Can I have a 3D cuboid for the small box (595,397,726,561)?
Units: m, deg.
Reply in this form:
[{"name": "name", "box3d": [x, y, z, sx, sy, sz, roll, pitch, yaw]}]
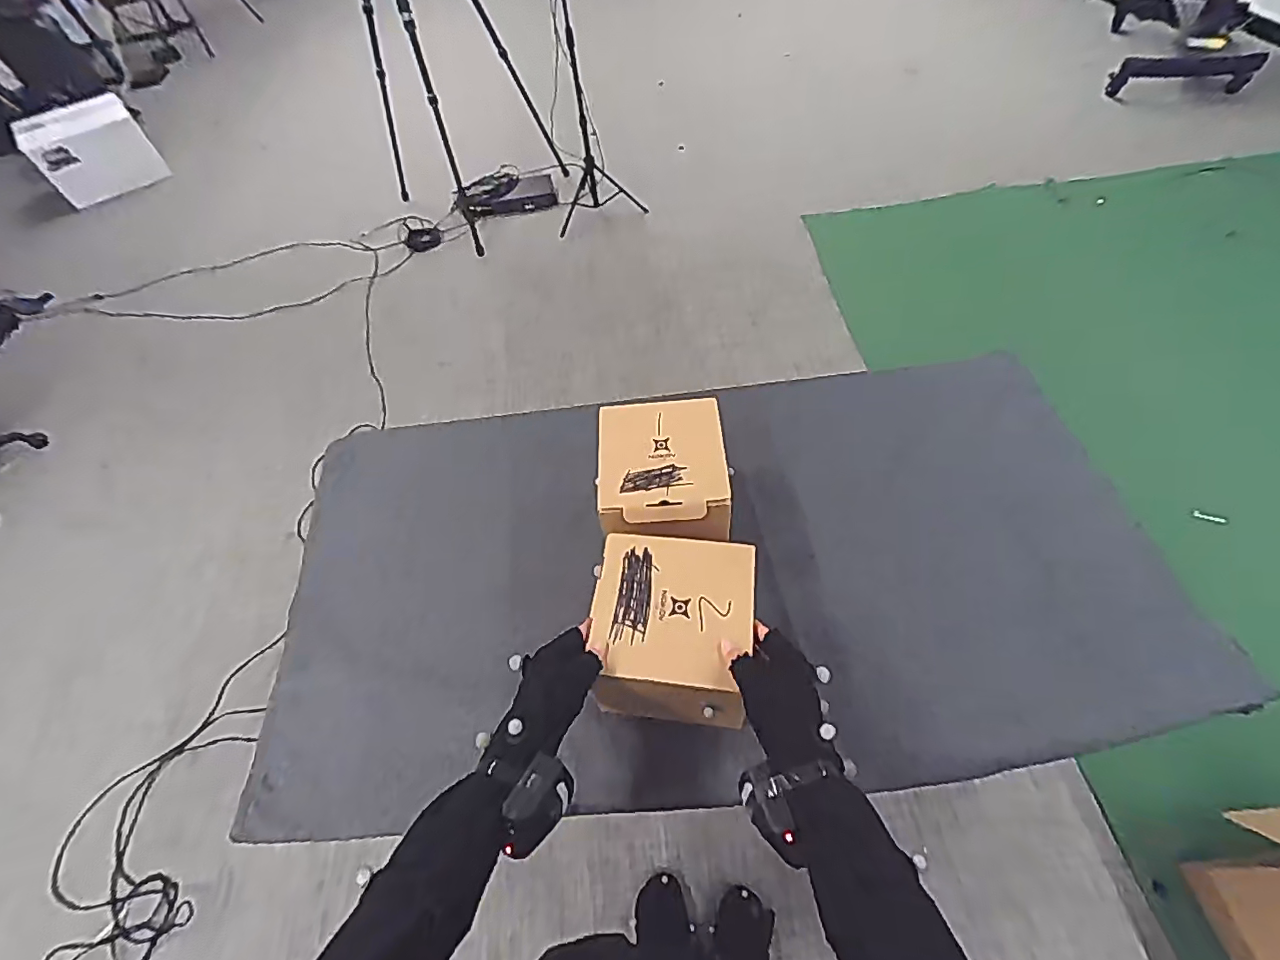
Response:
[{"name": "small box", "box3d": [0.032, 0.007, 0.771, 0.168, 0.176, 0.179, -4, 54, 3]}]
